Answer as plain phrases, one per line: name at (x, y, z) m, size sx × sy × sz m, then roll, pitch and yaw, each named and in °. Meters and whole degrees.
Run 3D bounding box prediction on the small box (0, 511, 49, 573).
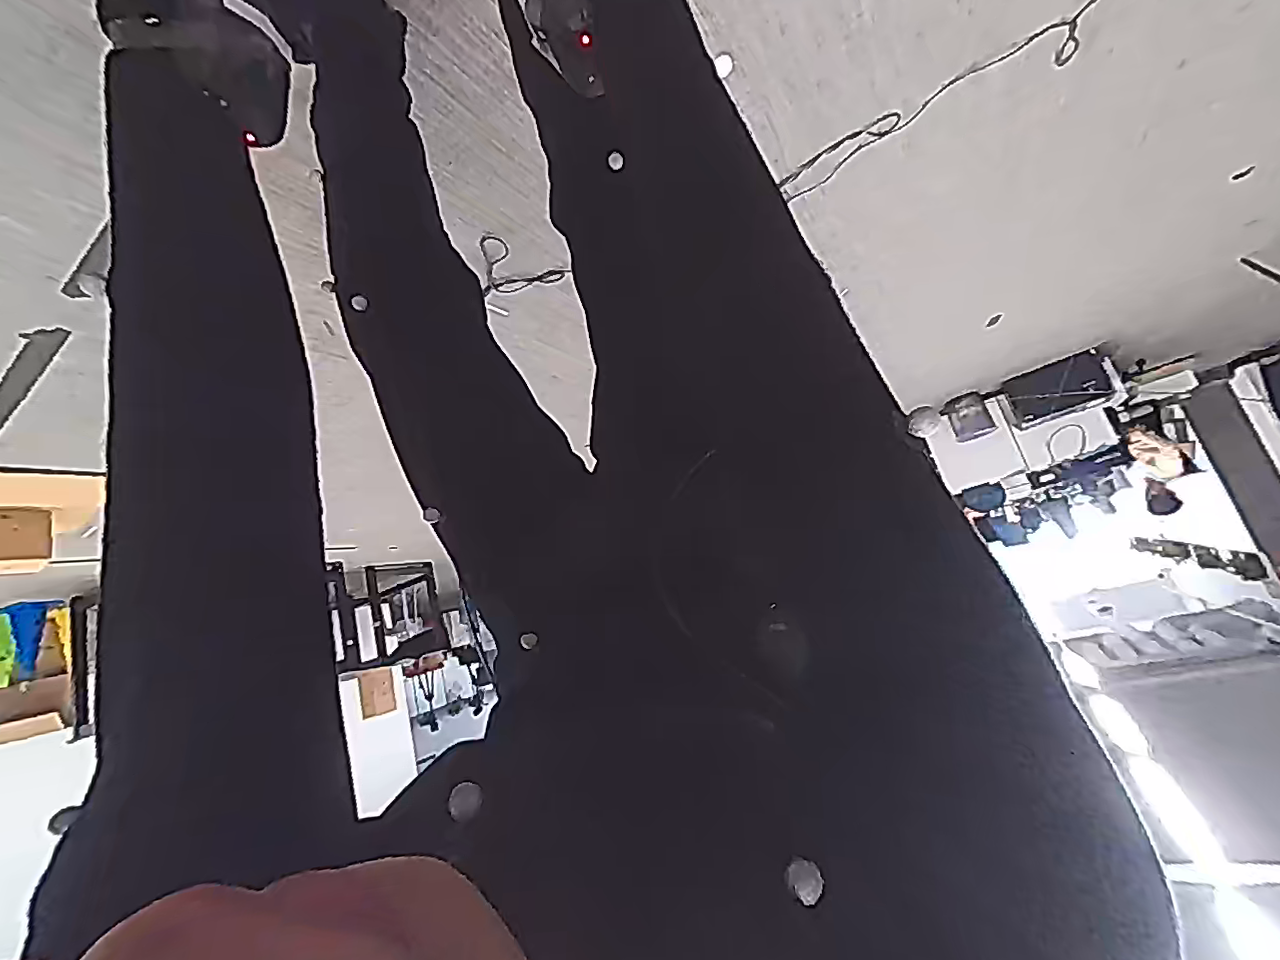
small box at (-2.073, 0.204, 1.765) m, size 0.179 × 0.176 × 0.168 m, roll -23°, pitch 165°, yaw 29°
